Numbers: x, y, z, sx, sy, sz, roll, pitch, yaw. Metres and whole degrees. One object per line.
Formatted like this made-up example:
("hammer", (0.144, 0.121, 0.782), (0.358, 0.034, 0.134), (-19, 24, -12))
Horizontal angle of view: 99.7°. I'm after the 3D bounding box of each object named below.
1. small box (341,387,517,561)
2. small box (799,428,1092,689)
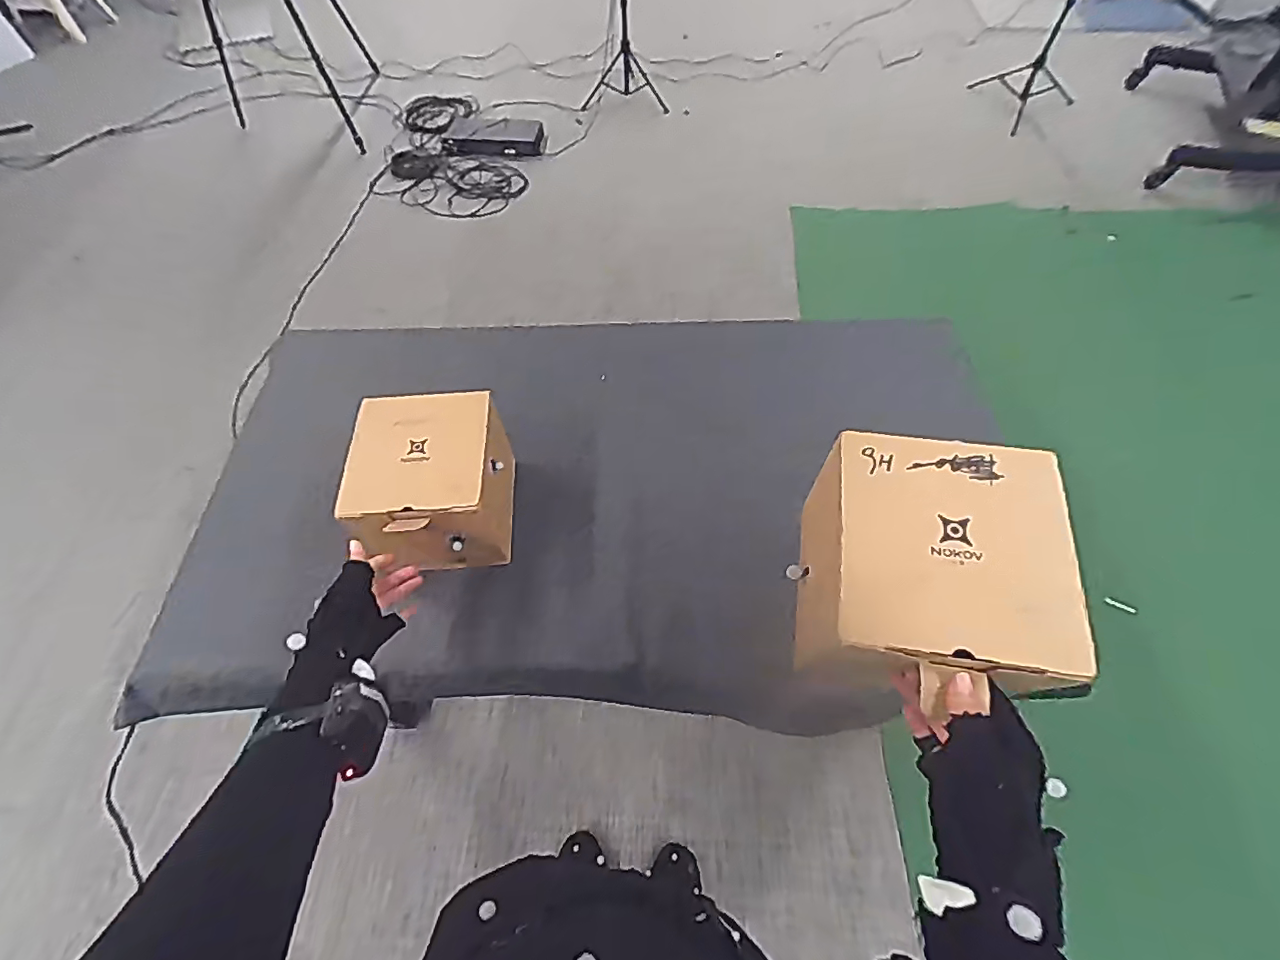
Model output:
("small box", (-0.263, 0.000, 0.722), (0.168, 0.176, 0.179), (-5, 59, -2))
("small box", (0.239, 0.077, 0.472), (0.168, 0.176, 0.179), (7, 67, 8))
